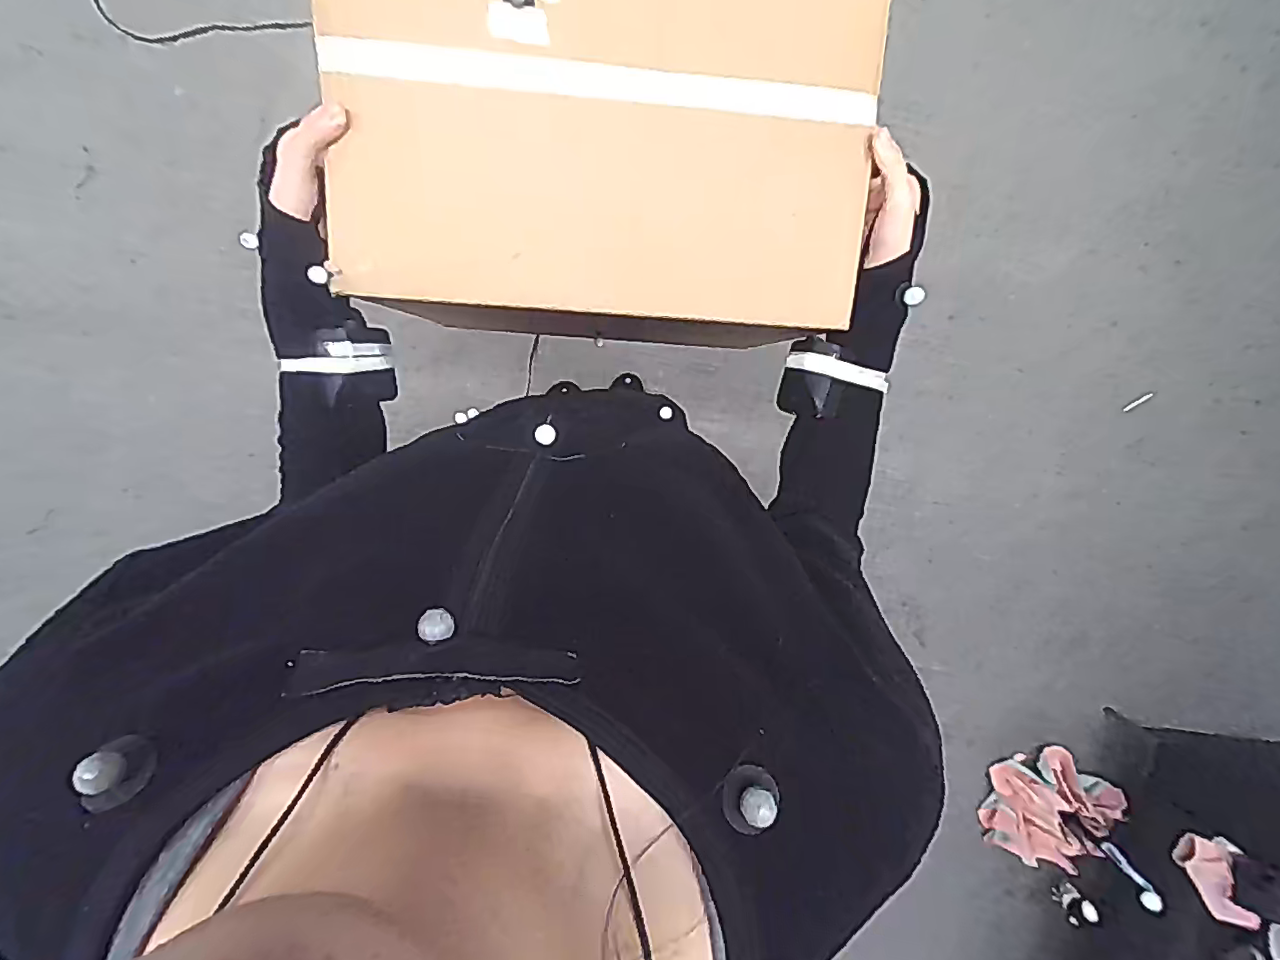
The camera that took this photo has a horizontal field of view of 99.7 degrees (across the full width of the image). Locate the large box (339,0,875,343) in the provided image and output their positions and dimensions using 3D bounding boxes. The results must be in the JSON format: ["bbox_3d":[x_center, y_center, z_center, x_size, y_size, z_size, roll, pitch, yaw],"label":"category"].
[{"bbox_3d":[-0.033,-0.313,0.560,0.408,0.320,0.320,3,101,-5],"label":"large box"}]
